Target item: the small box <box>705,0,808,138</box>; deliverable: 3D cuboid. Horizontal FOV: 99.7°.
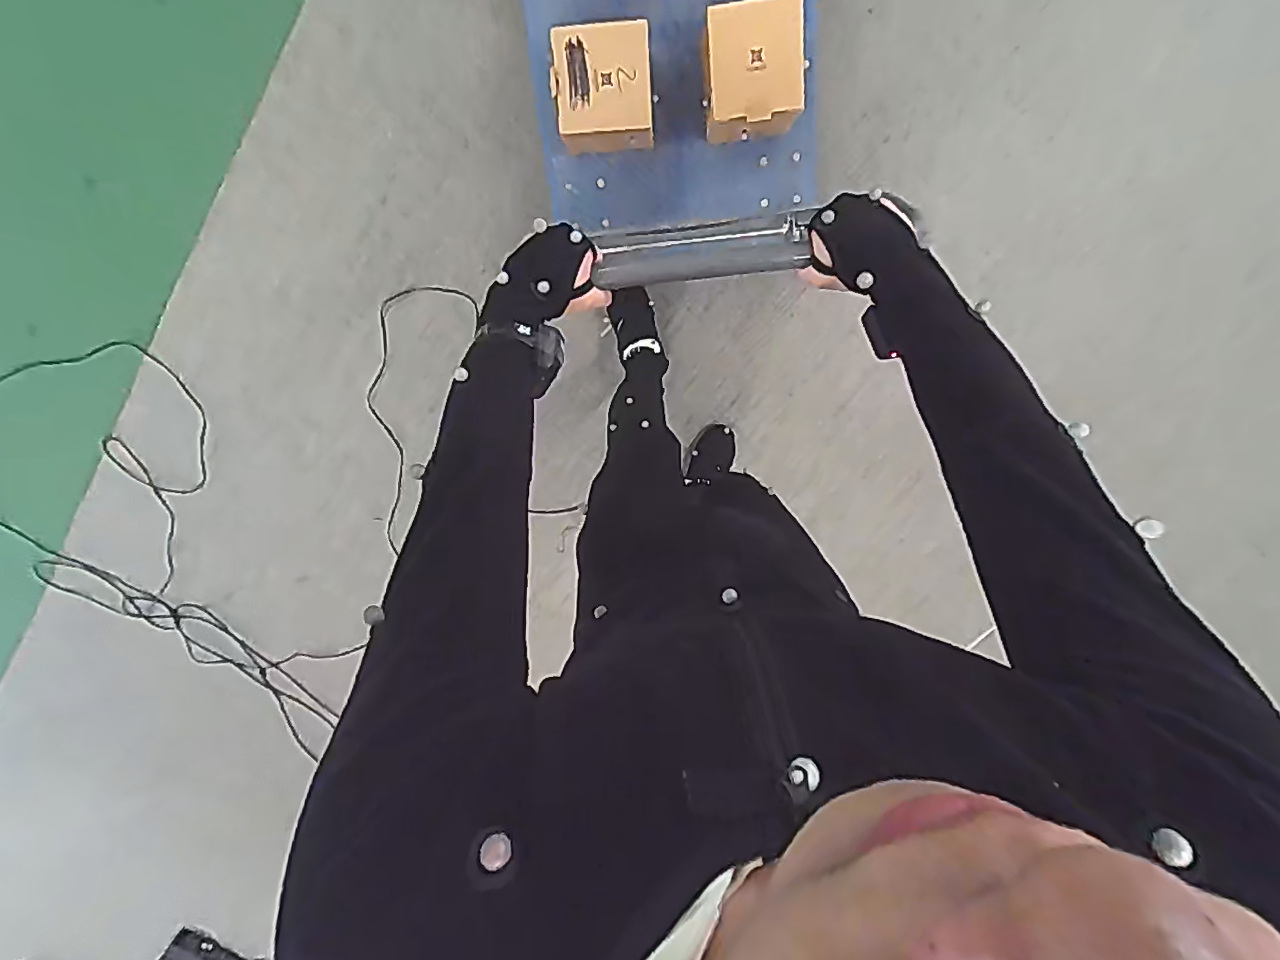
[{"bbox_3d":[0.215,-0.776,1.022,0.168,0.176,0.179,-5,111,5],"label":"small box"}]
